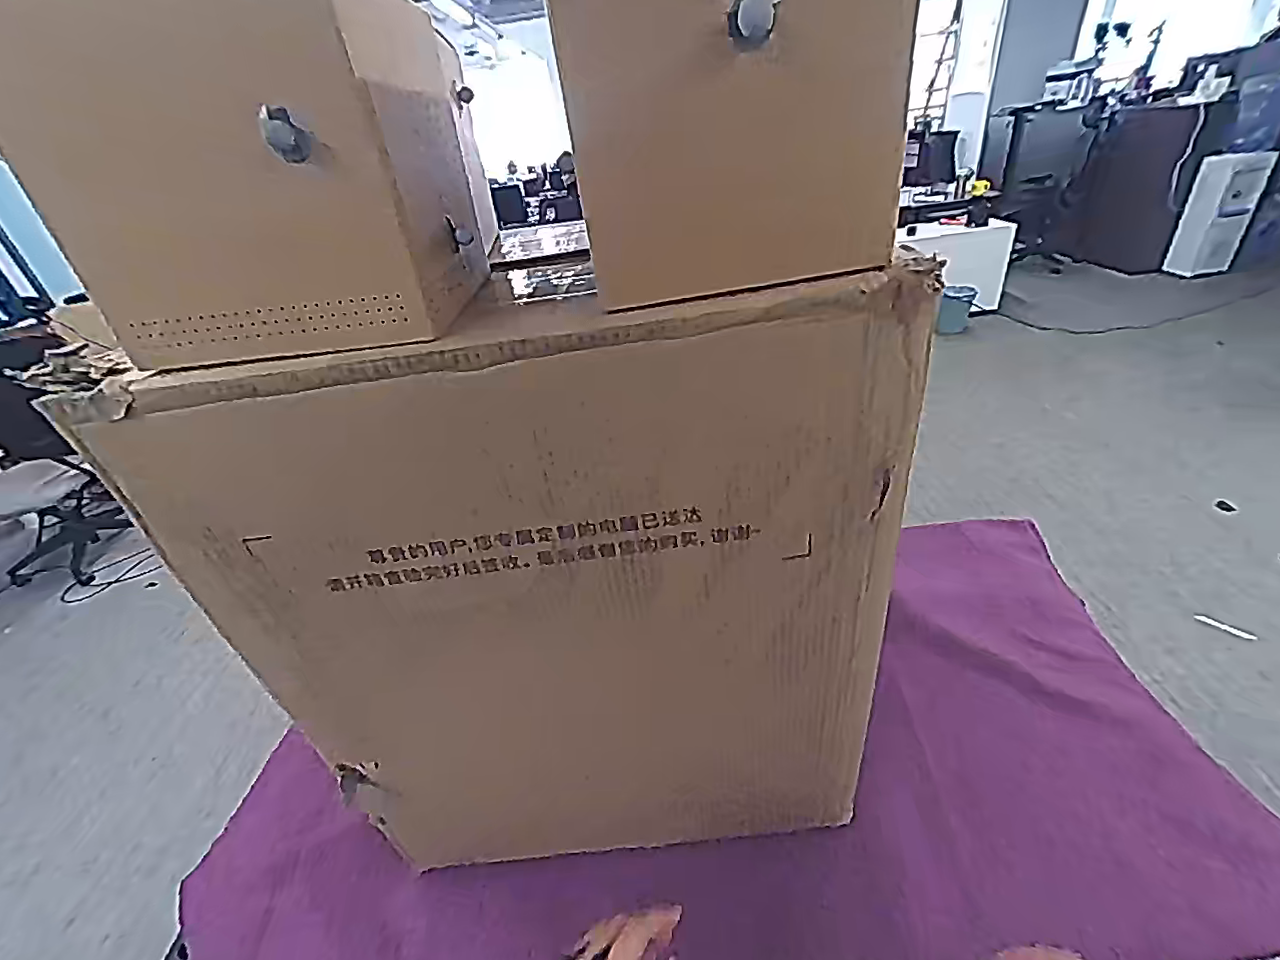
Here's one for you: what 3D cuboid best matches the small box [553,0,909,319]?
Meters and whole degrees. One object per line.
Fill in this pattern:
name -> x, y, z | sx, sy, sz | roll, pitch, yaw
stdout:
small box -> 0.046, -0.216, 0.330 | 0.168, 0.176, 0.179 | -9, 32, 2
